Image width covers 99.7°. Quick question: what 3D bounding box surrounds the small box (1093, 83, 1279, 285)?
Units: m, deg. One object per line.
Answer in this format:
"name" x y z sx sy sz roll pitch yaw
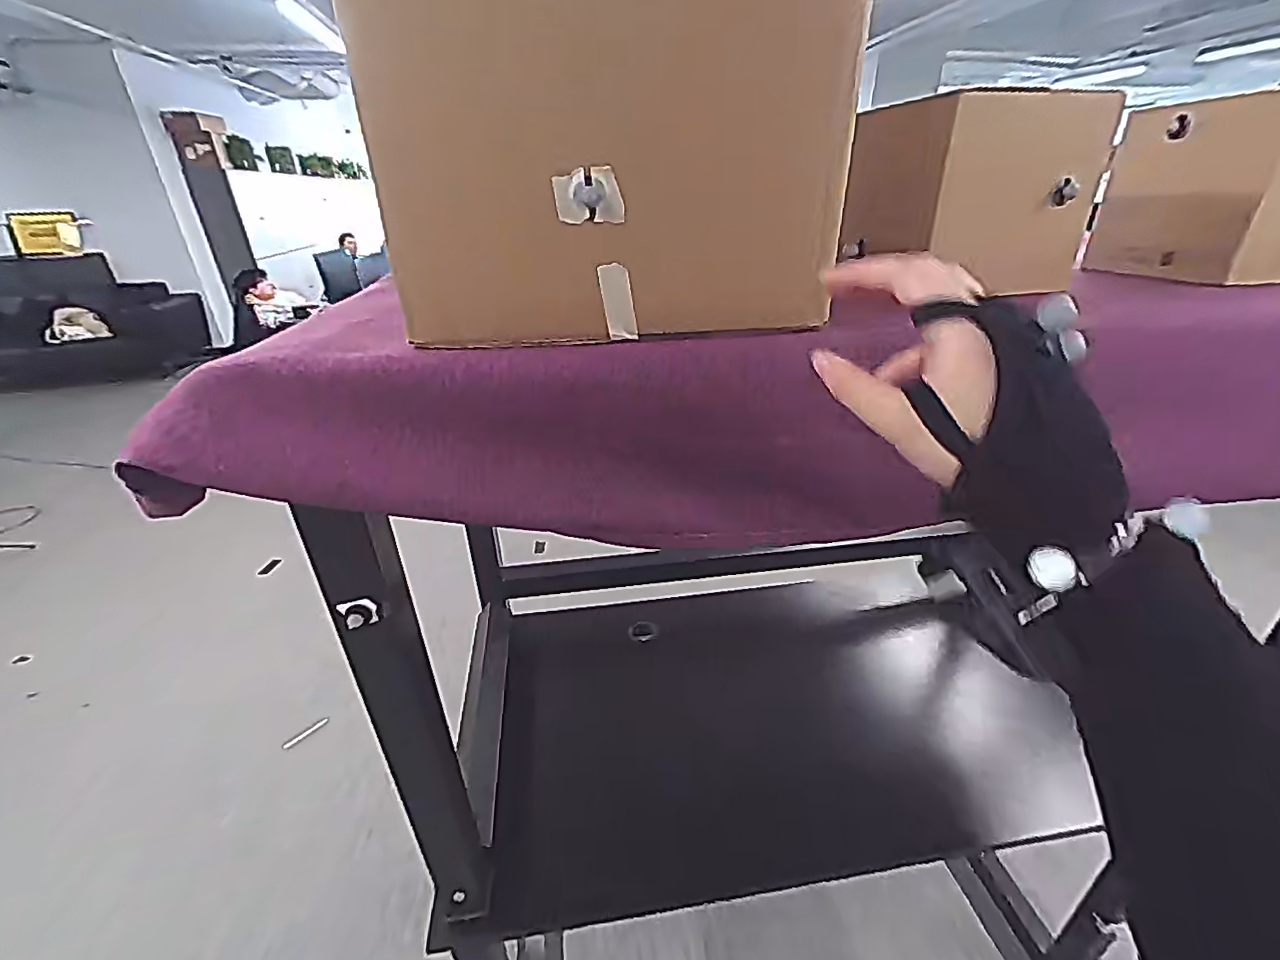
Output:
"small box" 0.644 -0.307 0.571 0.179 0.176 0.168 -5 27 -7

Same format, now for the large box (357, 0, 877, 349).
"large box" -0.029 -0.323 0.496 0.320 0.320 0.408 -3 27 -5

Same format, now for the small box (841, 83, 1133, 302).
"small box" 0.322 -0.284 0.549 0.179 0.176 0.168 -8 28 -12
